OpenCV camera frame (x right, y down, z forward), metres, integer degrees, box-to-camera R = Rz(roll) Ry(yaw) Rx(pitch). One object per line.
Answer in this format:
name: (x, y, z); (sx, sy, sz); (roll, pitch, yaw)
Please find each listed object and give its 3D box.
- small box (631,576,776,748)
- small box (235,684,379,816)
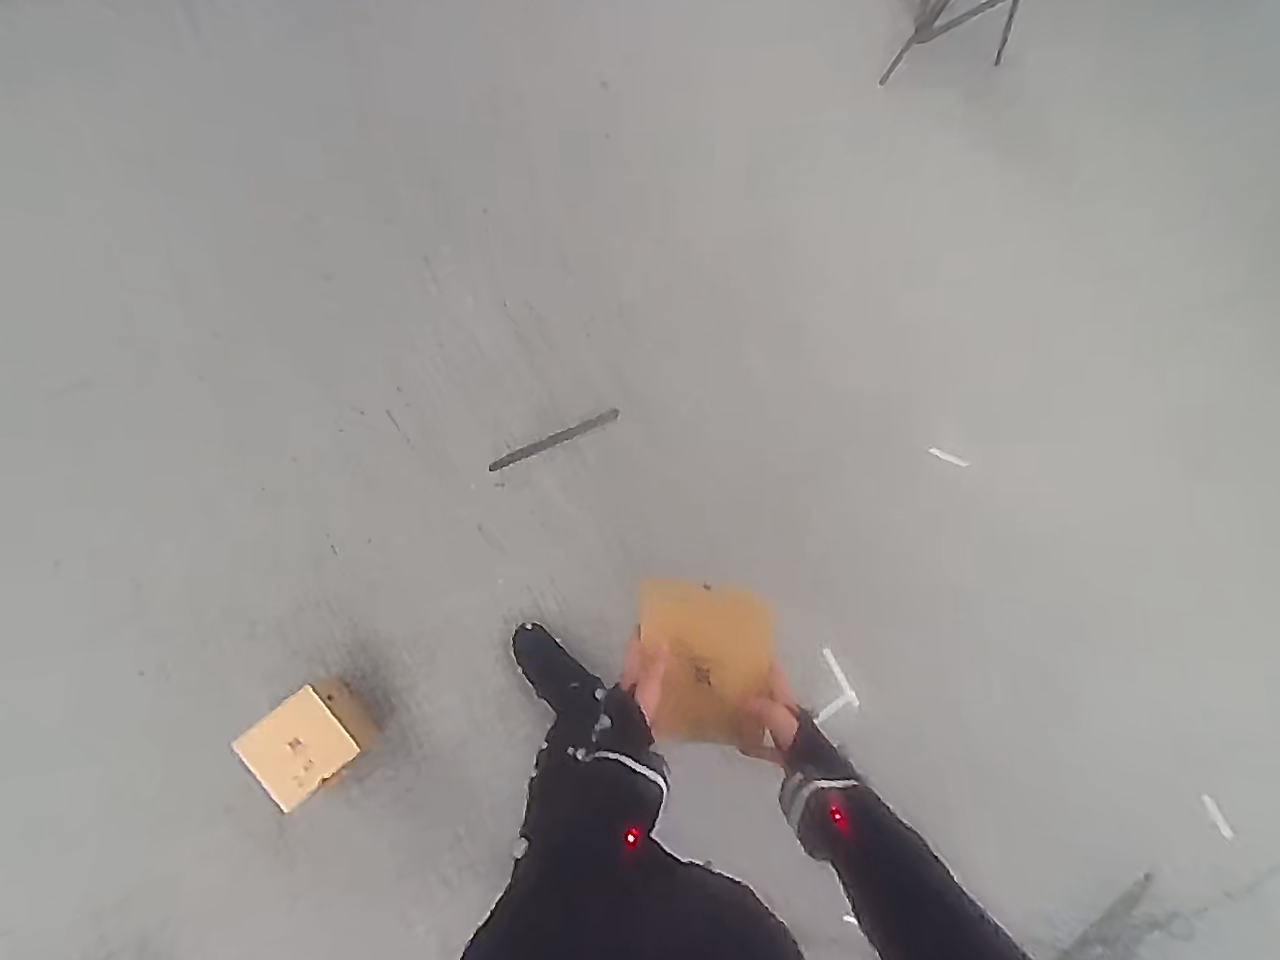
small box: (0.078, 0.236, 0.739); (0.168, 0.176, 0.179); (5, 87, -1)
small box: (-0.687, 0.553, 1.138); (0.168, 0.176, 0.179); (-40, 87, -18)
